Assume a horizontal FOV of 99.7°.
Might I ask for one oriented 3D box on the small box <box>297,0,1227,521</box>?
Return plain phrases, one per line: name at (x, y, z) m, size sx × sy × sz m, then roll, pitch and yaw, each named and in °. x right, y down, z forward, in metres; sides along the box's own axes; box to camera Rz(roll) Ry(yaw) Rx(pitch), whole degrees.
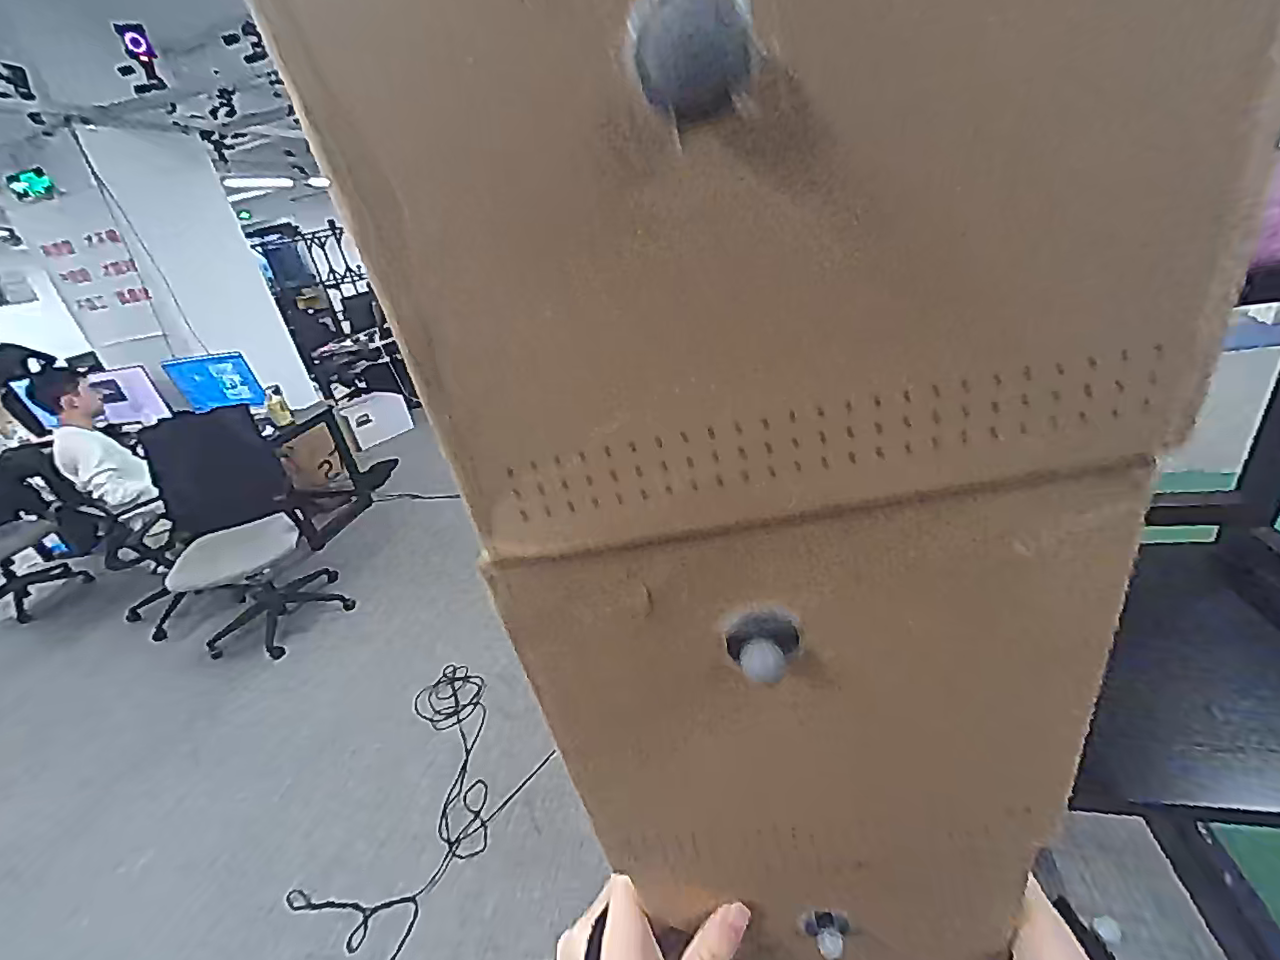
small box at (0.026, -0.104, 0.169) m, size 0.179 × 0.176 × 0.168 m, roll -11°, pitch 28°, yaw 7°
